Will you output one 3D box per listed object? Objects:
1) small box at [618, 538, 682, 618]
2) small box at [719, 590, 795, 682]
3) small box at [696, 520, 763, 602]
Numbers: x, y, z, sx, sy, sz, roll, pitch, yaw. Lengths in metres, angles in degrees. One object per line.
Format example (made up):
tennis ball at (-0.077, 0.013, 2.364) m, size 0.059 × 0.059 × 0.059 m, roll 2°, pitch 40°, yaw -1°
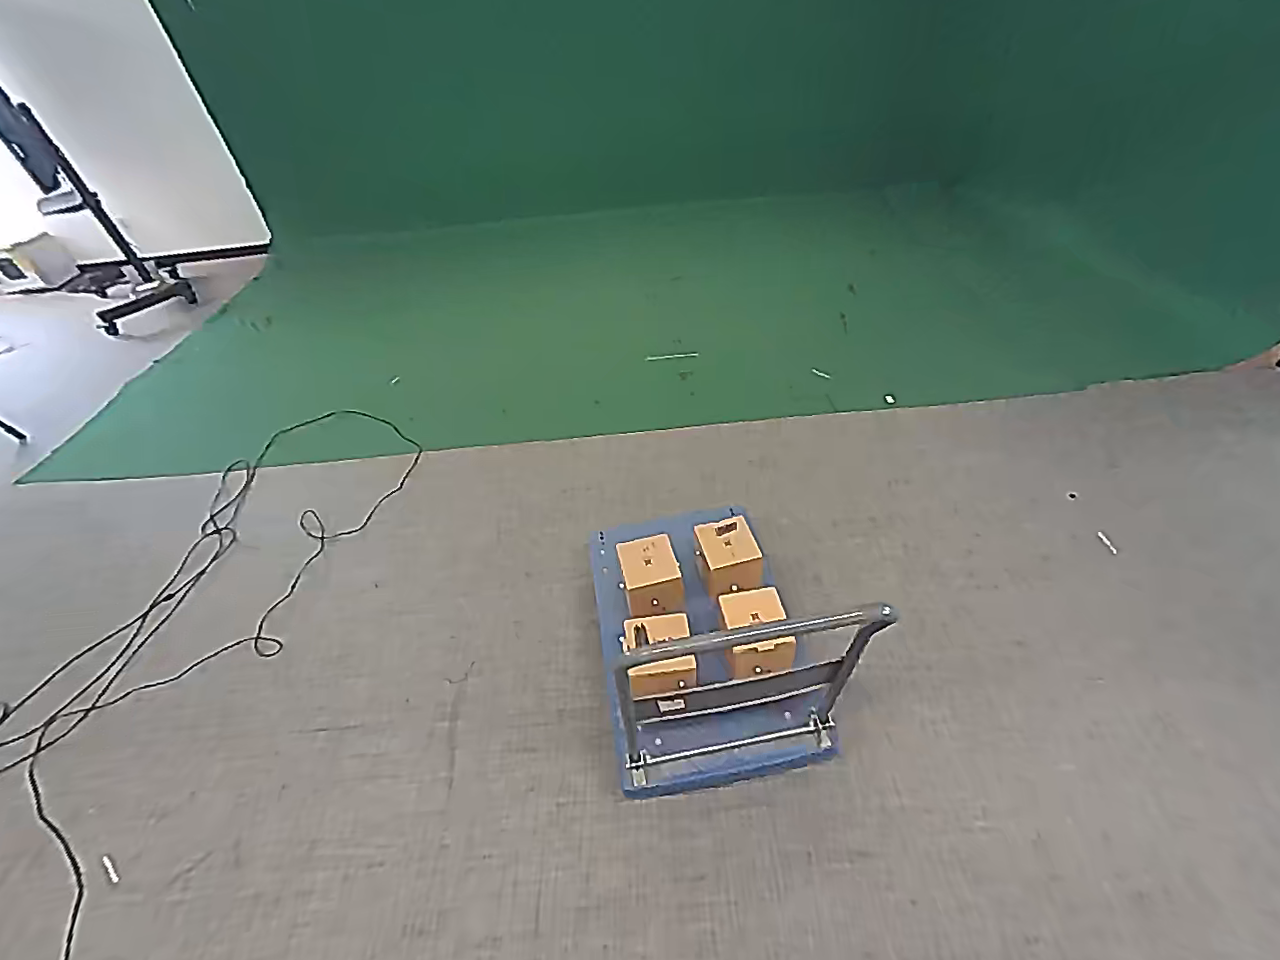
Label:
small box at (0.034, 0.314, 1.697) m, size 0.168 × 0.176 × 0.179 m, roll -12°, pitch 44°, yaw -7°
small box at (0.323, 0.442, 1.532) m, size 0.168 × 0.176 × 0.179 m, roll -9°, pitch 44°, yaw -3°
small box at (0.278, 0.258, 1.725) m, size 0.168 × 0.176 × 0.179 m, roll -13°, pitch 45°, yaw -5°
